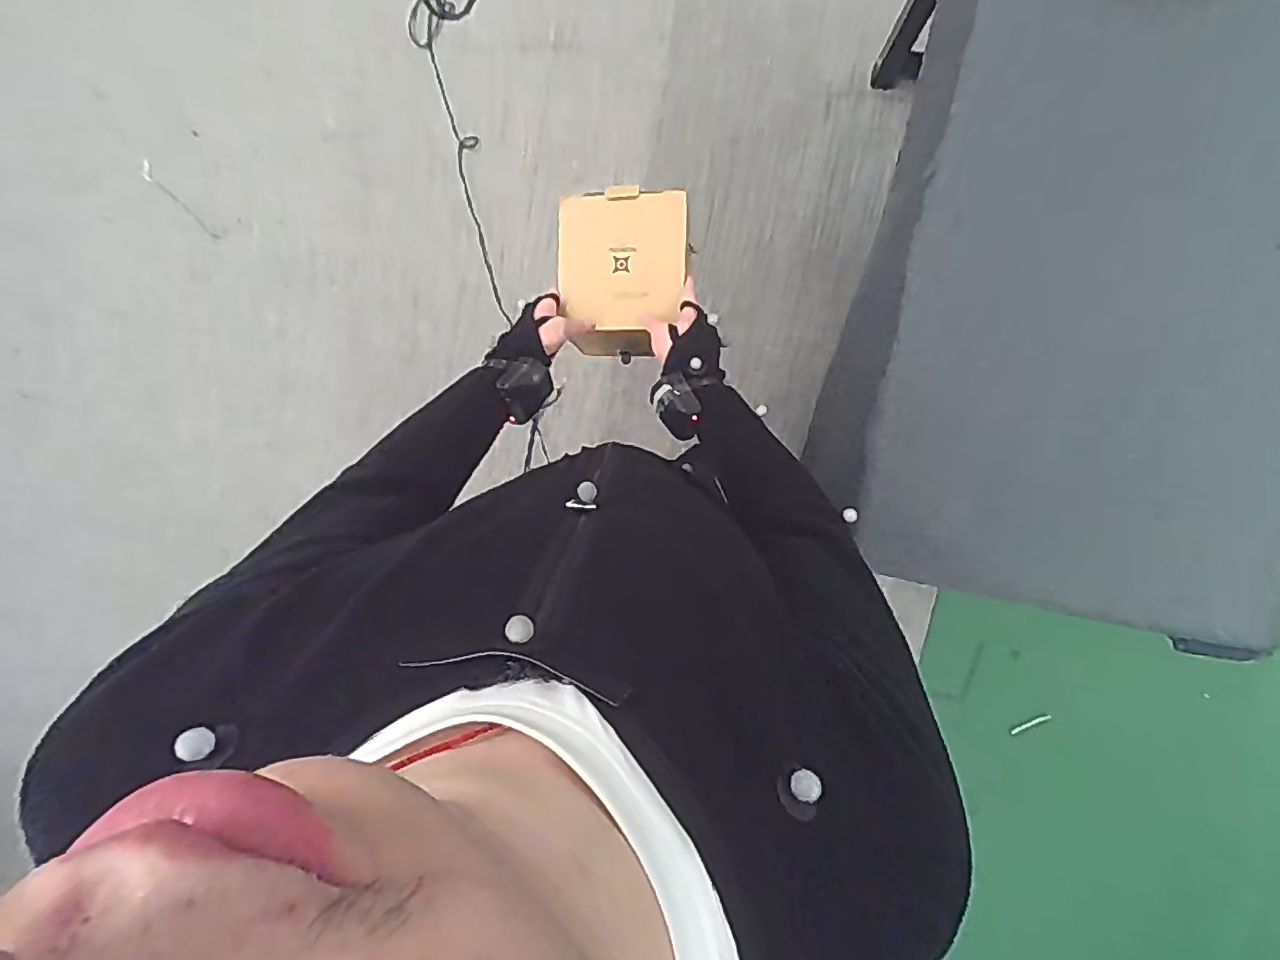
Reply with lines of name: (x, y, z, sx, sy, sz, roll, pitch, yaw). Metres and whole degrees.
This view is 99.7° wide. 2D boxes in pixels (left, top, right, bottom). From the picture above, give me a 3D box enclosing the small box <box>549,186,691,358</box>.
small box: (-0.018, -0.276, 0.748, 0.168, 0.176, 0.179, 3, 91, 9)
